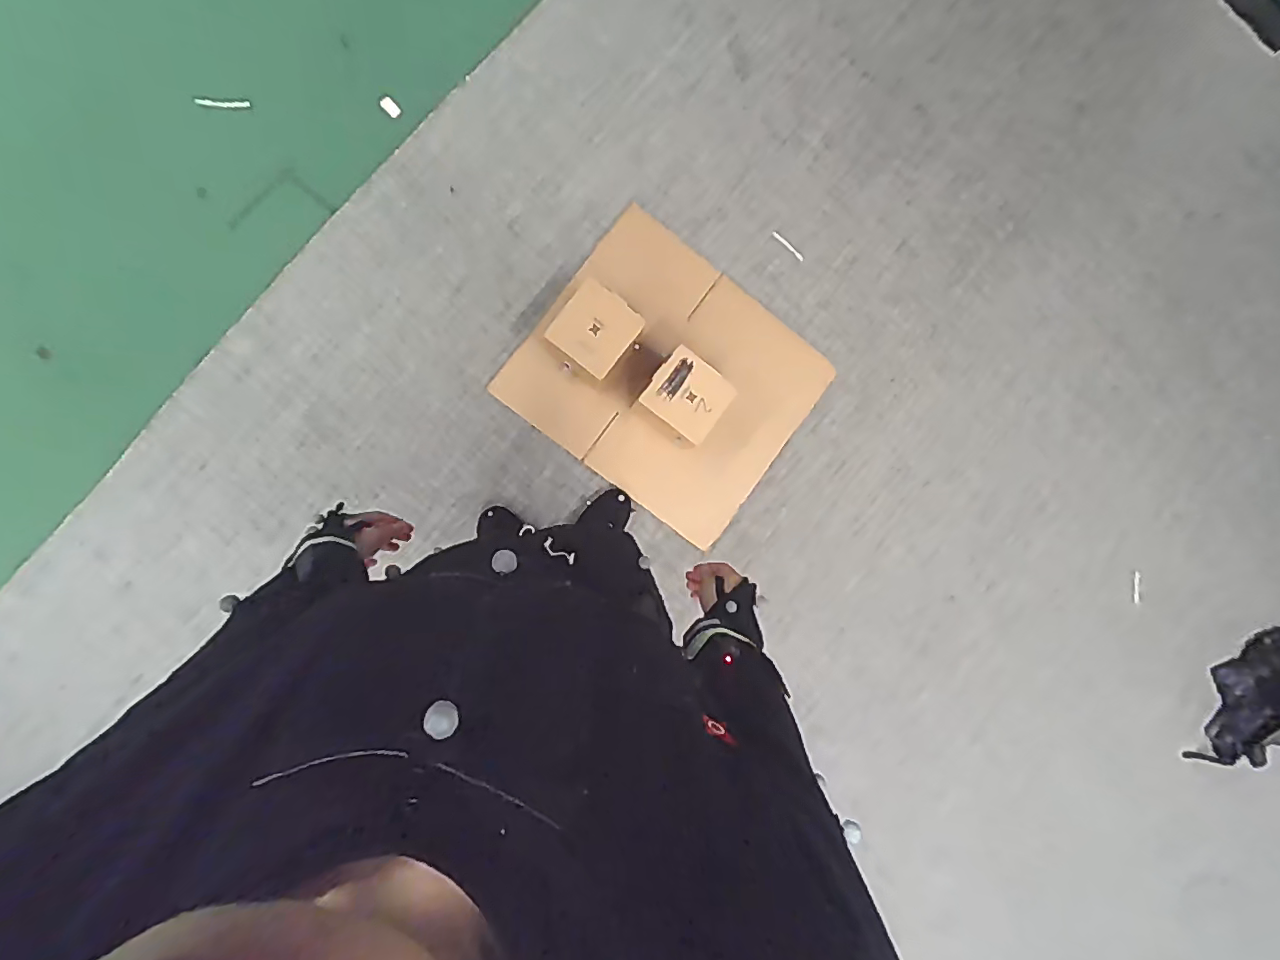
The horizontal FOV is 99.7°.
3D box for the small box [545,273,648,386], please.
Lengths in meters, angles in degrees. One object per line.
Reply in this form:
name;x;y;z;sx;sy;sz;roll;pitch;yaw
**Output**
small box;-0.105;-0.343;1.270;0.168;0.176;0.179;38;88;-6
